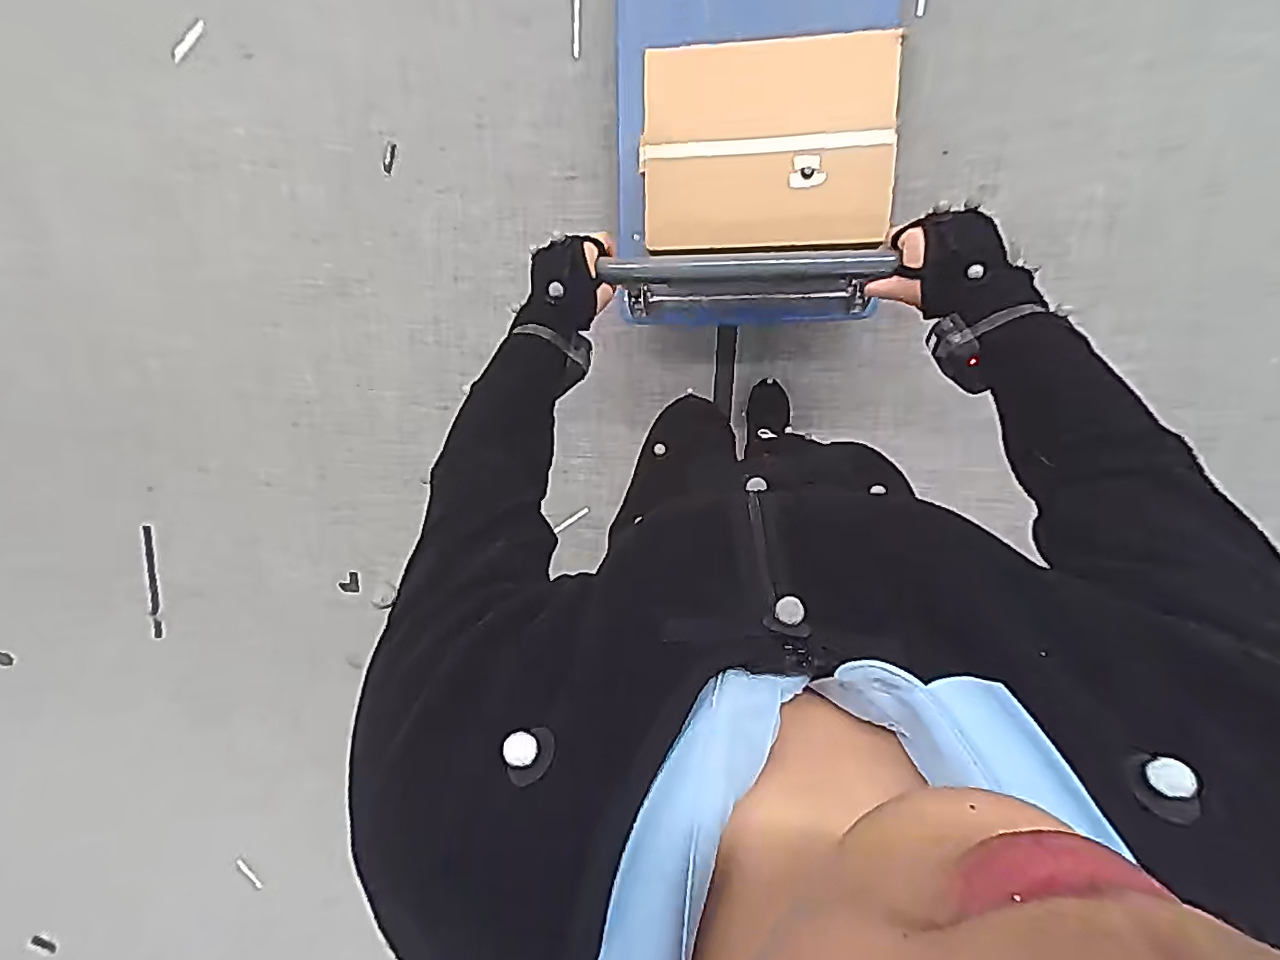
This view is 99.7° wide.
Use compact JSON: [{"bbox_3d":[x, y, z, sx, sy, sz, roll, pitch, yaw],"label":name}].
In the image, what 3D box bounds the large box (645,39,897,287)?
[{"bbox_3d":[0.223,-0.563,1.035,0.408,0.320,0.320,1,101,6],"label":"large box"}]
